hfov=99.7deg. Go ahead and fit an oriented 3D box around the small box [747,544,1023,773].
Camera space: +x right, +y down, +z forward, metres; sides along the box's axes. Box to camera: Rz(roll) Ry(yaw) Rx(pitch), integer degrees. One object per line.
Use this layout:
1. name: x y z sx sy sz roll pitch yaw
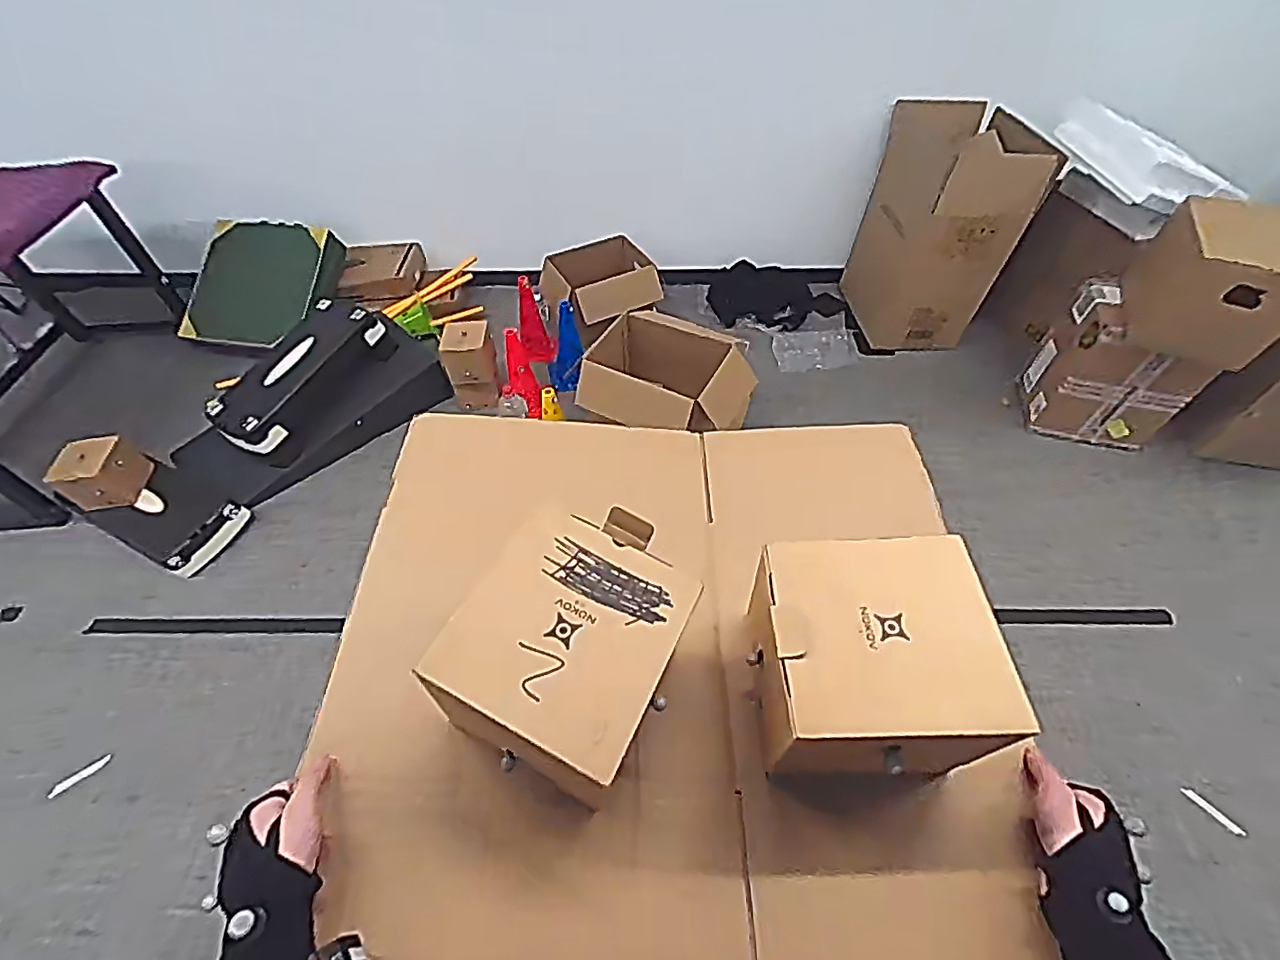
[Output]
1. small box: 0.206 0.175 0.516 0.179 0.176 0.168 -3 53 3
